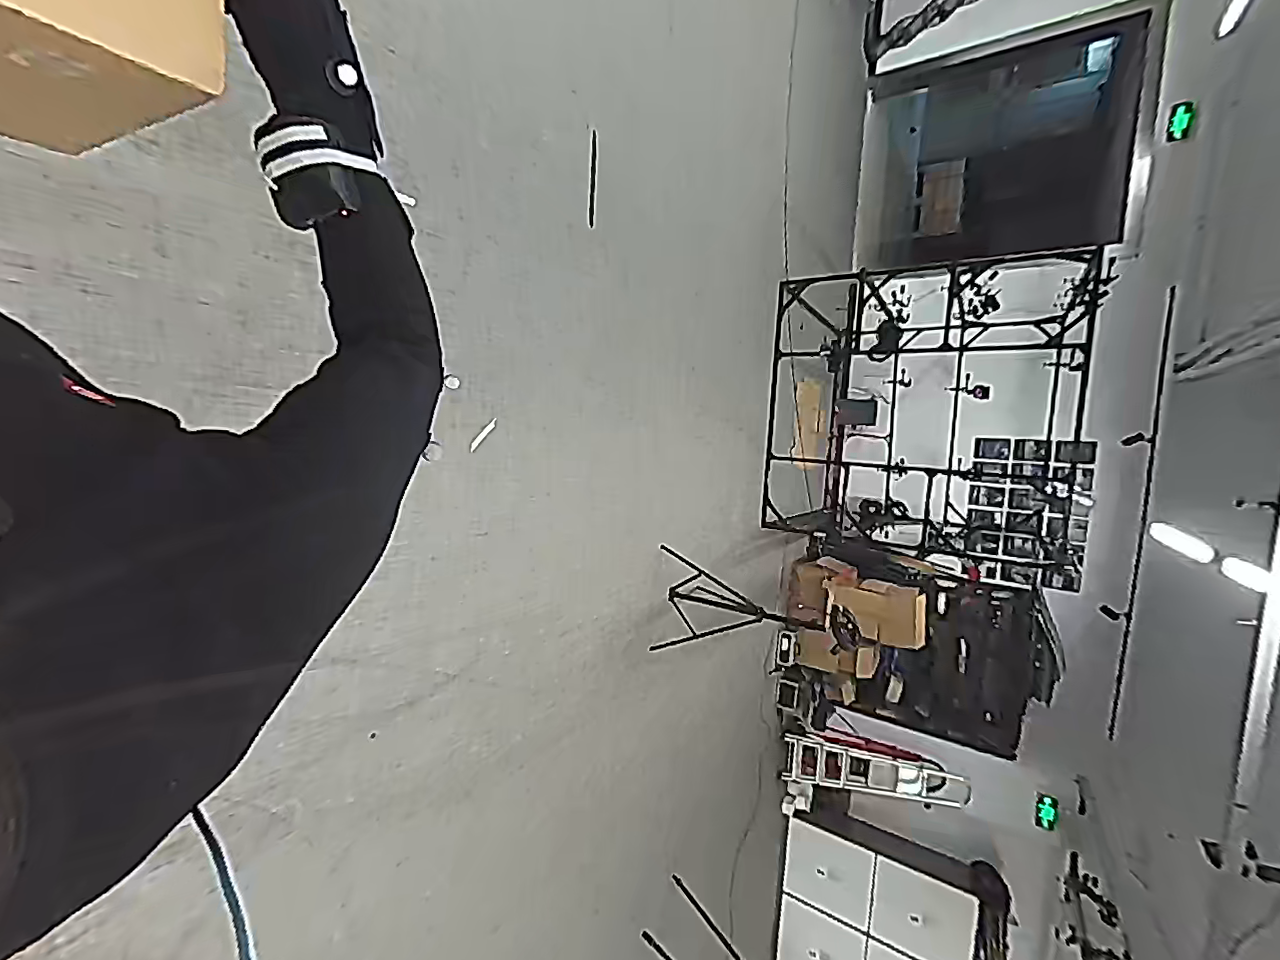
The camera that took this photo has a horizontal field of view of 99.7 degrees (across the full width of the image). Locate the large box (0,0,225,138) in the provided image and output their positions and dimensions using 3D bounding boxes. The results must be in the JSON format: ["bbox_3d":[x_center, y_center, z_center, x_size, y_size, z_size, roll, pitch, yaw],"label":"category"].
[{"bbox_3d":[-0.508,-0.429,0.256,0.408,0.320,0.320,-11,110,-59],"label":"large box"}]
